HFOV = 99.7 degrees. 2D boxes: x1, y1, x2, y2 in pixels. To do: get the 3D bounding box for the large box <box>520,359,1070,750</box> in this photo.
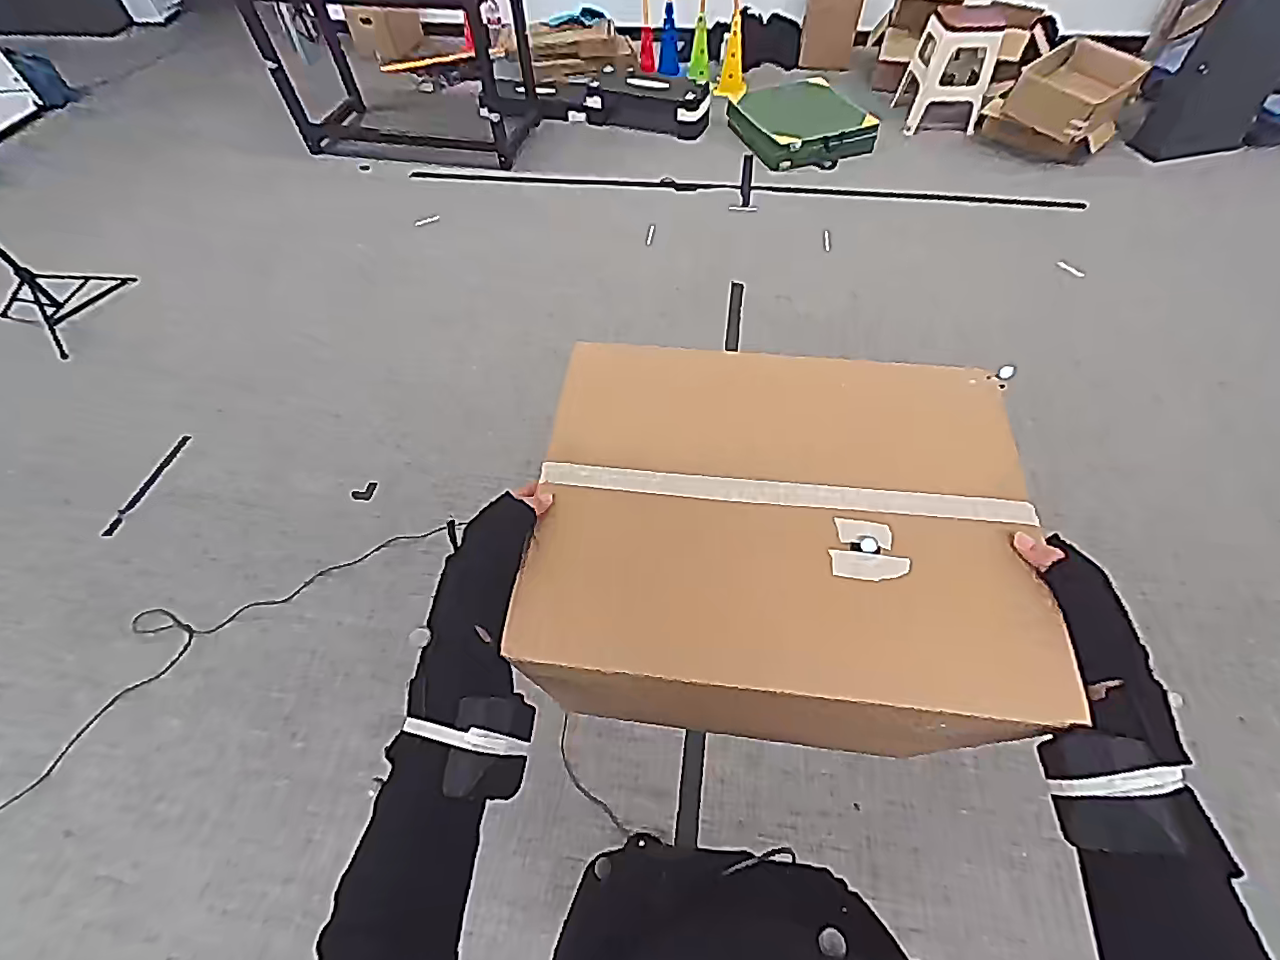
[{"bbox_3d":[0.123,0.095,0.593,0.408,0.320,0.320,5,61,5],"label":"large box"}]
